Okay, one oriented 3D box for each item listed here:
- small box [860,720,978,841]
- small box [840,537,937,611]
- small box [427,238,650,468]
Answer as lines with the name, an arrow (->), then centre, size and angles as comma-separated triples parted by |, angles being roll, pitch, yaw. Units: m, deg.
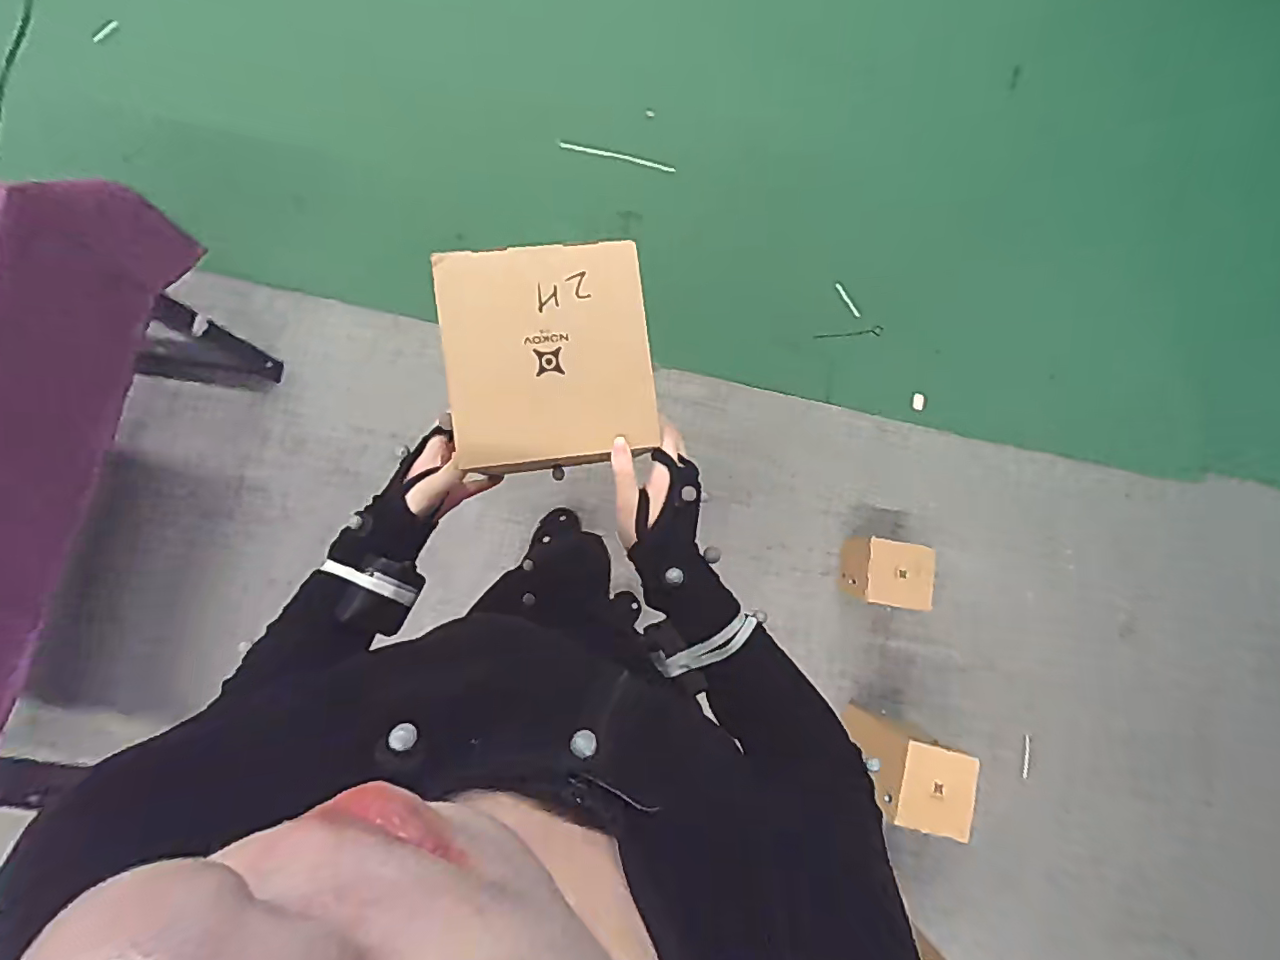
small box -> 0.626, 0.673, 1.232 | 0.168, 0.176, 0.179 | 16, 81, -2
small box -> 0.664, 0.252, 1.462 | 0.179, 0.176, 0.168 | 11, 82, -3
small box -> -0.090, -0.105, 0.518 | 0.168, 0.176, 0.179 | -7, 90, -8
